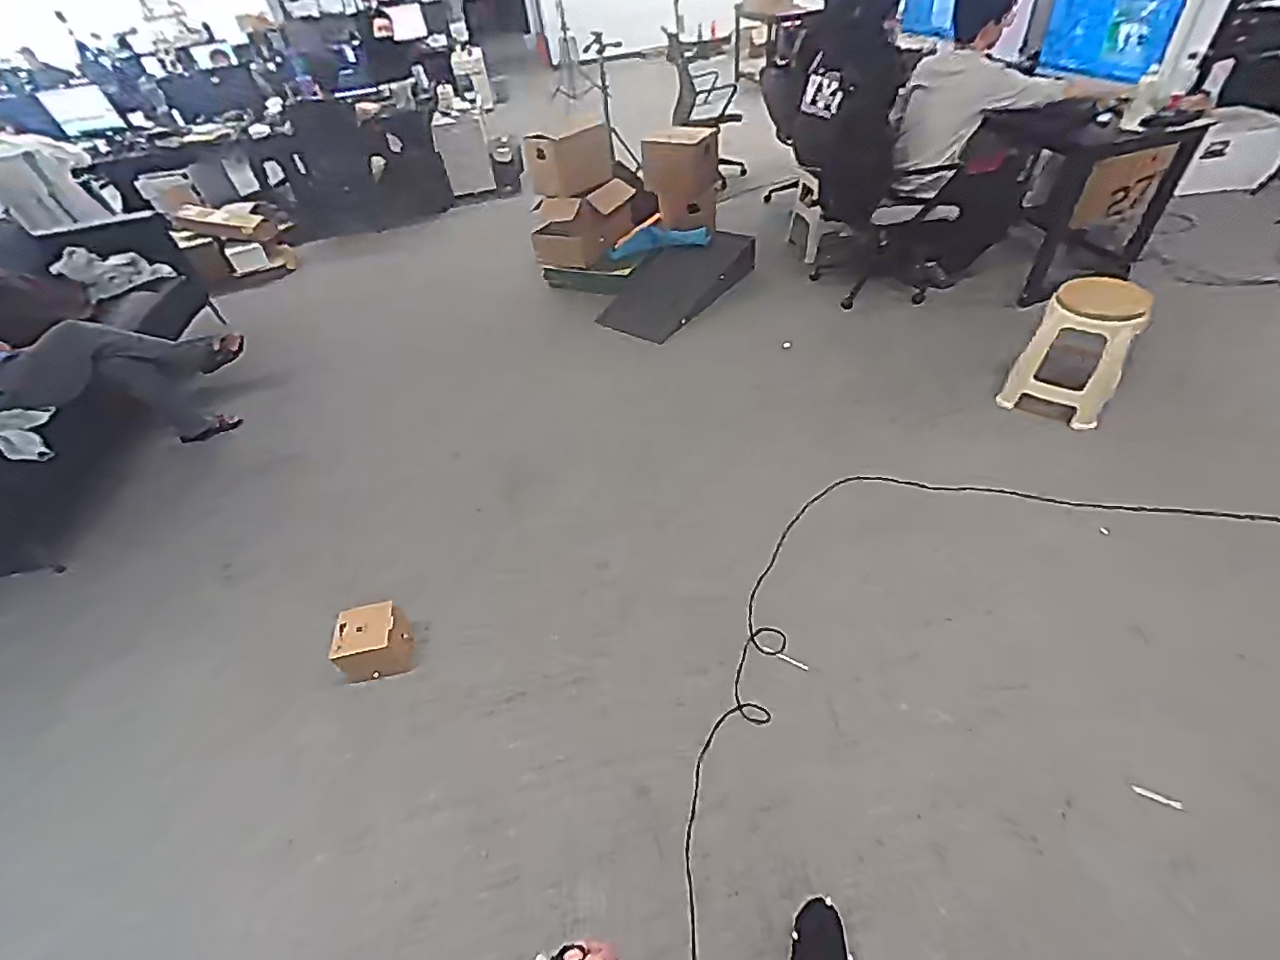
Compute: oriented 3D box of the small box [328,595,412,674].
[{"bbox_3d":[-0.844,0.493,1.716,0.179,0.176,0.168,-11,45,-3],"label":"small box"}]
